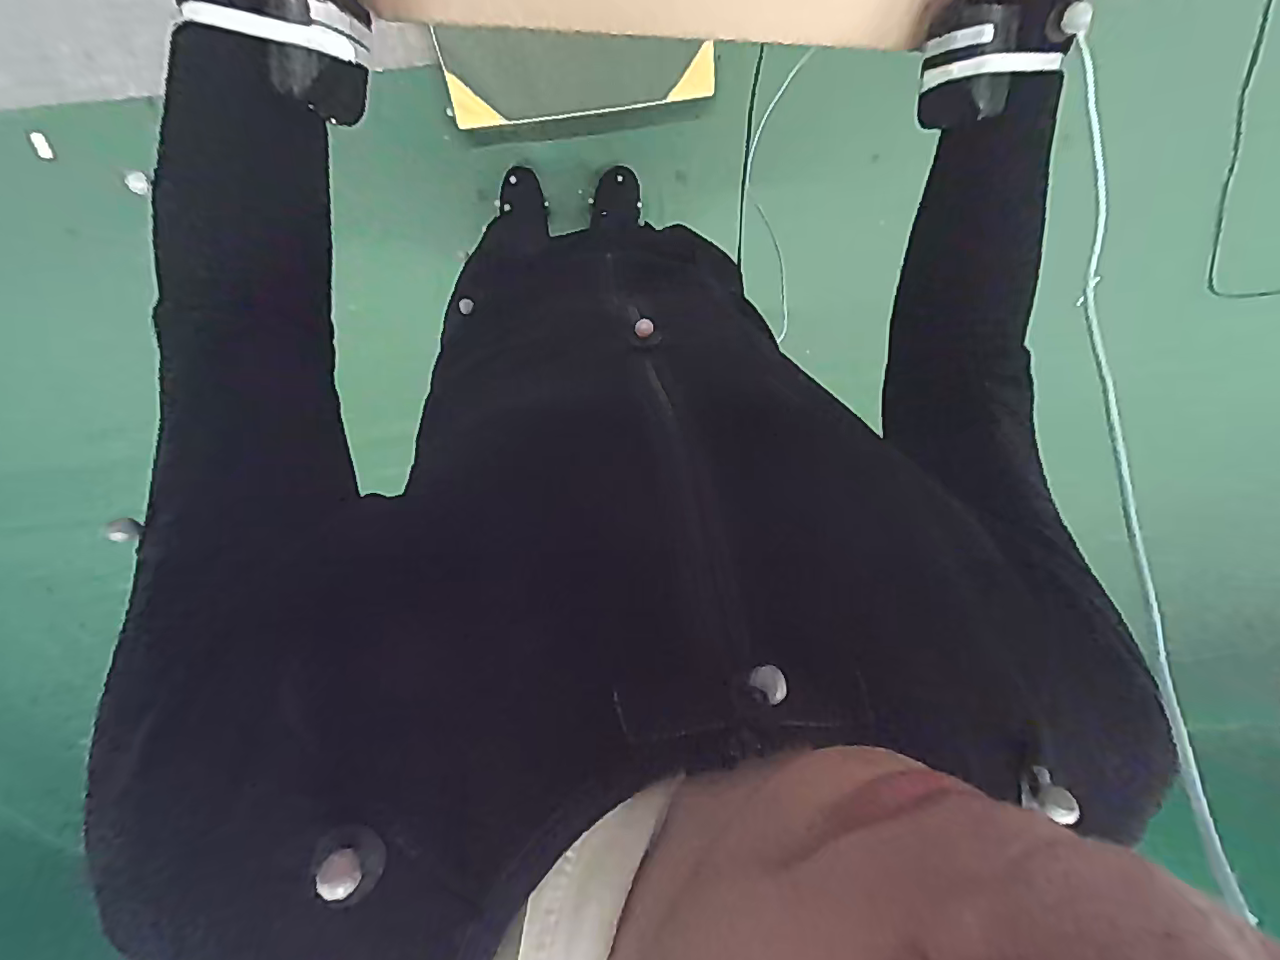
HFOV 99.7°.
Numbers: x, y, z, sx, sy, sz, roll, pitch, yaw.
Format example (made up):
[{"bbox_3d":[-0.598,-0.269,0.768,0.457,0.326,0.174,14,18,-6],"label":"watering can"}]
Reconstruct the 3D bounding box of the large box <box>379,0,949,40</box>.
[{"bbox_3d":[0.013,-0.527,0.349,0.408,0.320,0.320,-3,145,-6],"label":"large box"}]
